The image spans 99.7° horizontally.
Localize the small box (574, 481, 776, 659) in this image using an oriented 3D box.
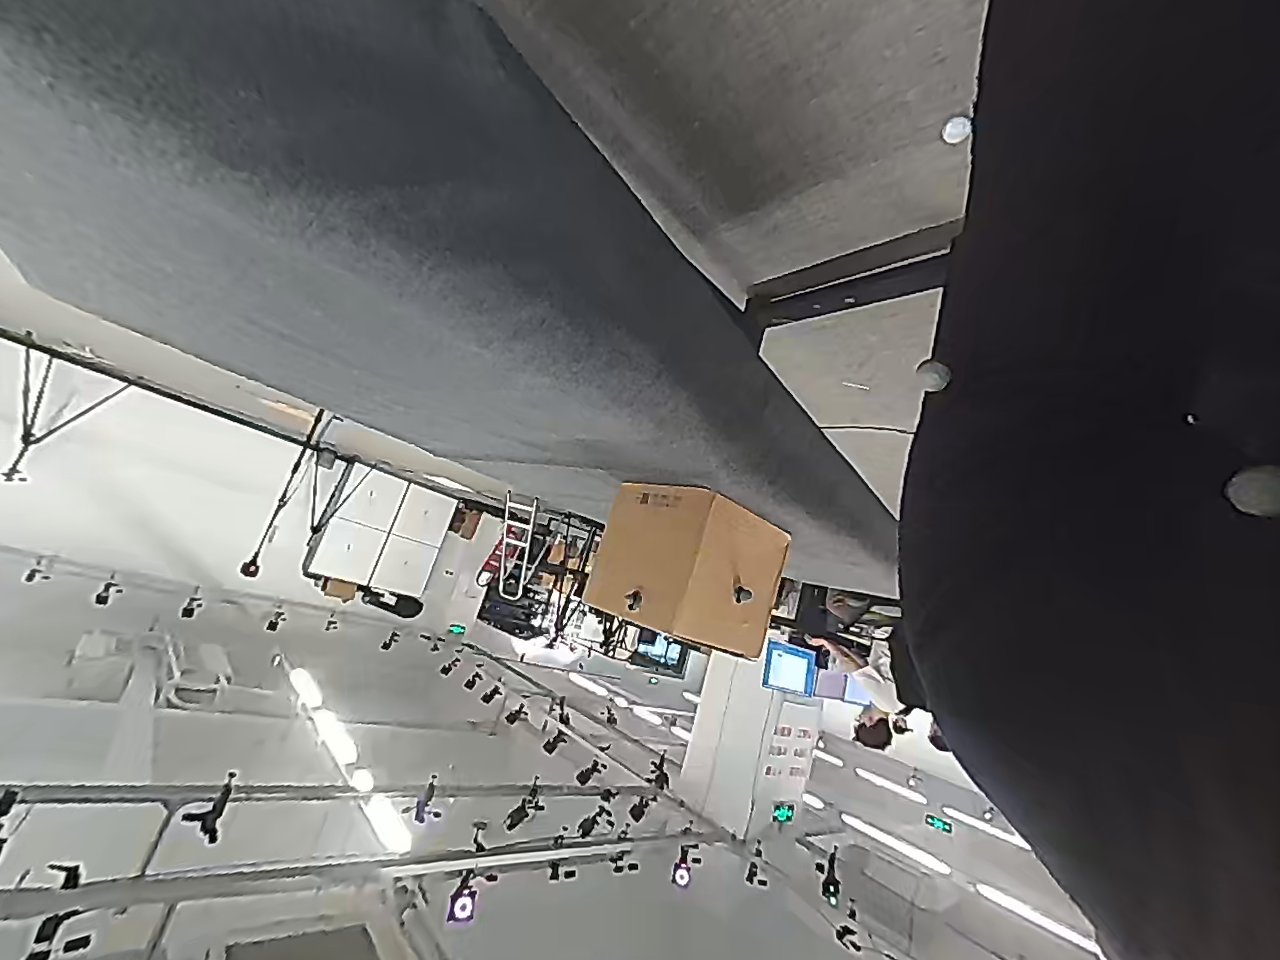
[{"bbox_3d":[0.051,0.112,0.699,0.179,0.176,0.168,28,164,-39],"label":"small box"}]
